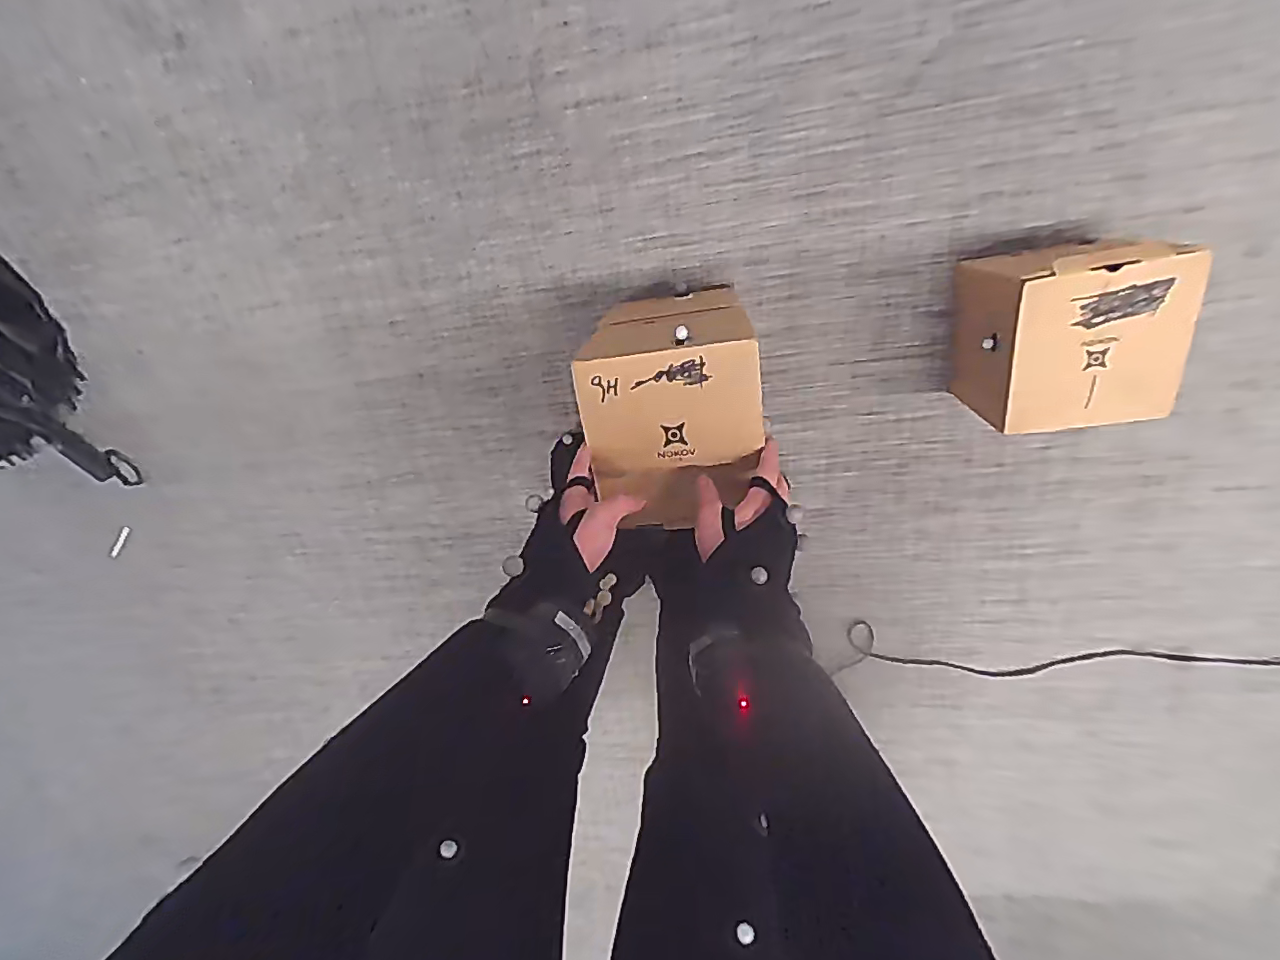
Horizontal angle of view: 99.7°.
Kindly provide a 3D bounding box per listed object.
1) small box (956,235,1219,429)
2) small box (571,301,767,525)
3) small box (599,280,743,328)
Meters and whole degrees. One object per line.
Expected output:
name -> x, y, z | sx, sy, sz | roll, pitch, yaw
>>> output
small box -> 0.488, -0.178, 0.627 | 0.168, 0.176, 0.179 | -6, 117, 12
small box -> 0.041, -0.074, 0.565 | 0.168, 0.176, 0.179 | -5, 117, 10
small box -> 0.055, -0.151, 0.708 | 0.168, 0.176, 0.179 | -6, 115, 10
